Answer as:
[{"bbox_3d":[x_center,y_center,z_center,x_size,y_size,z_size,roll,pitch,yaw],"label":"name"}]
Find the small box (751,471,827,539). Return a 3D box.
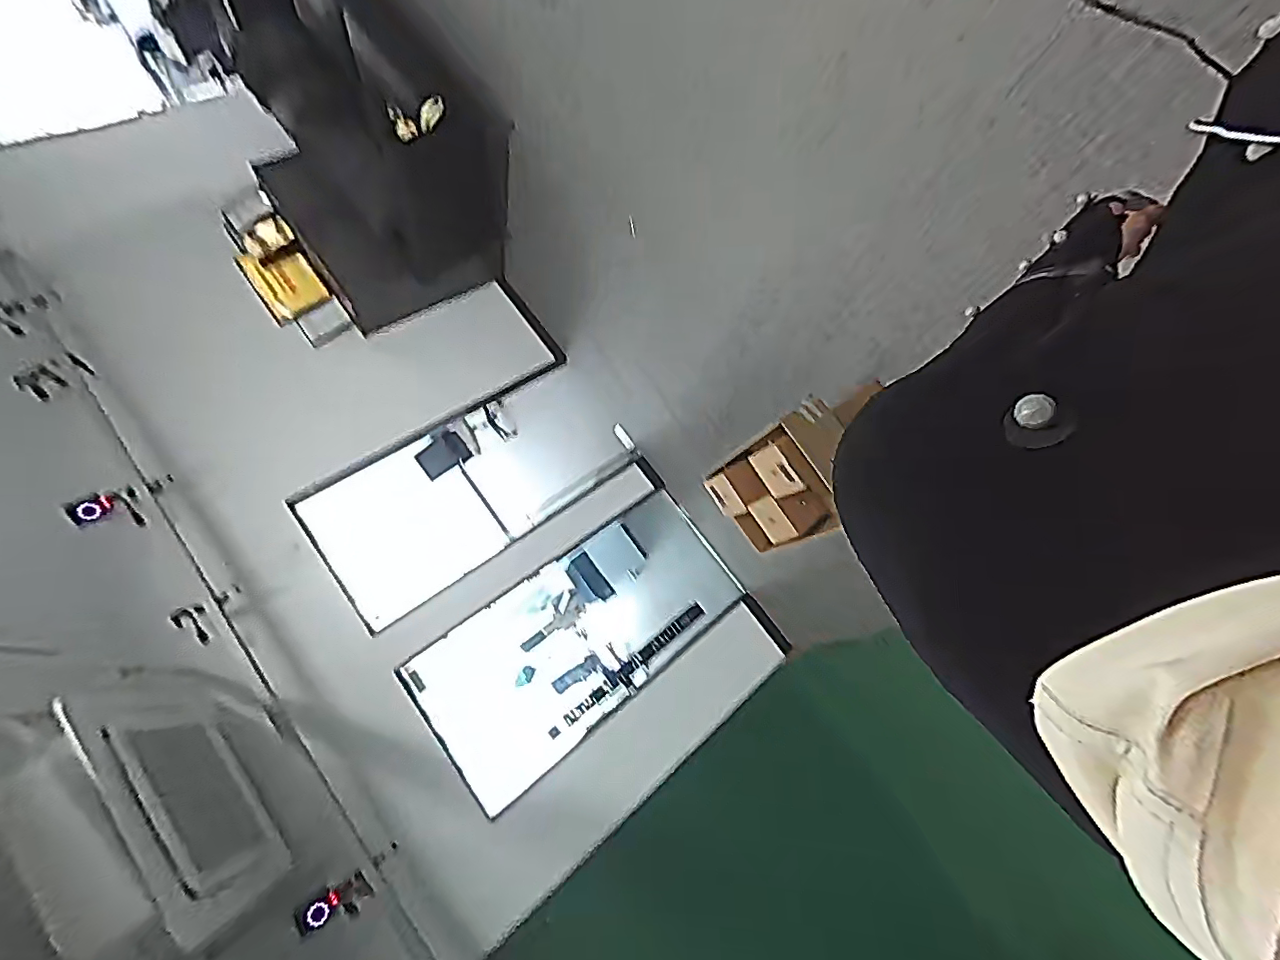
[{"bbox_3d":[0.541,0.088,1.936,0.168,0.176,0.179,56,157,4],"label":"small box"}]
